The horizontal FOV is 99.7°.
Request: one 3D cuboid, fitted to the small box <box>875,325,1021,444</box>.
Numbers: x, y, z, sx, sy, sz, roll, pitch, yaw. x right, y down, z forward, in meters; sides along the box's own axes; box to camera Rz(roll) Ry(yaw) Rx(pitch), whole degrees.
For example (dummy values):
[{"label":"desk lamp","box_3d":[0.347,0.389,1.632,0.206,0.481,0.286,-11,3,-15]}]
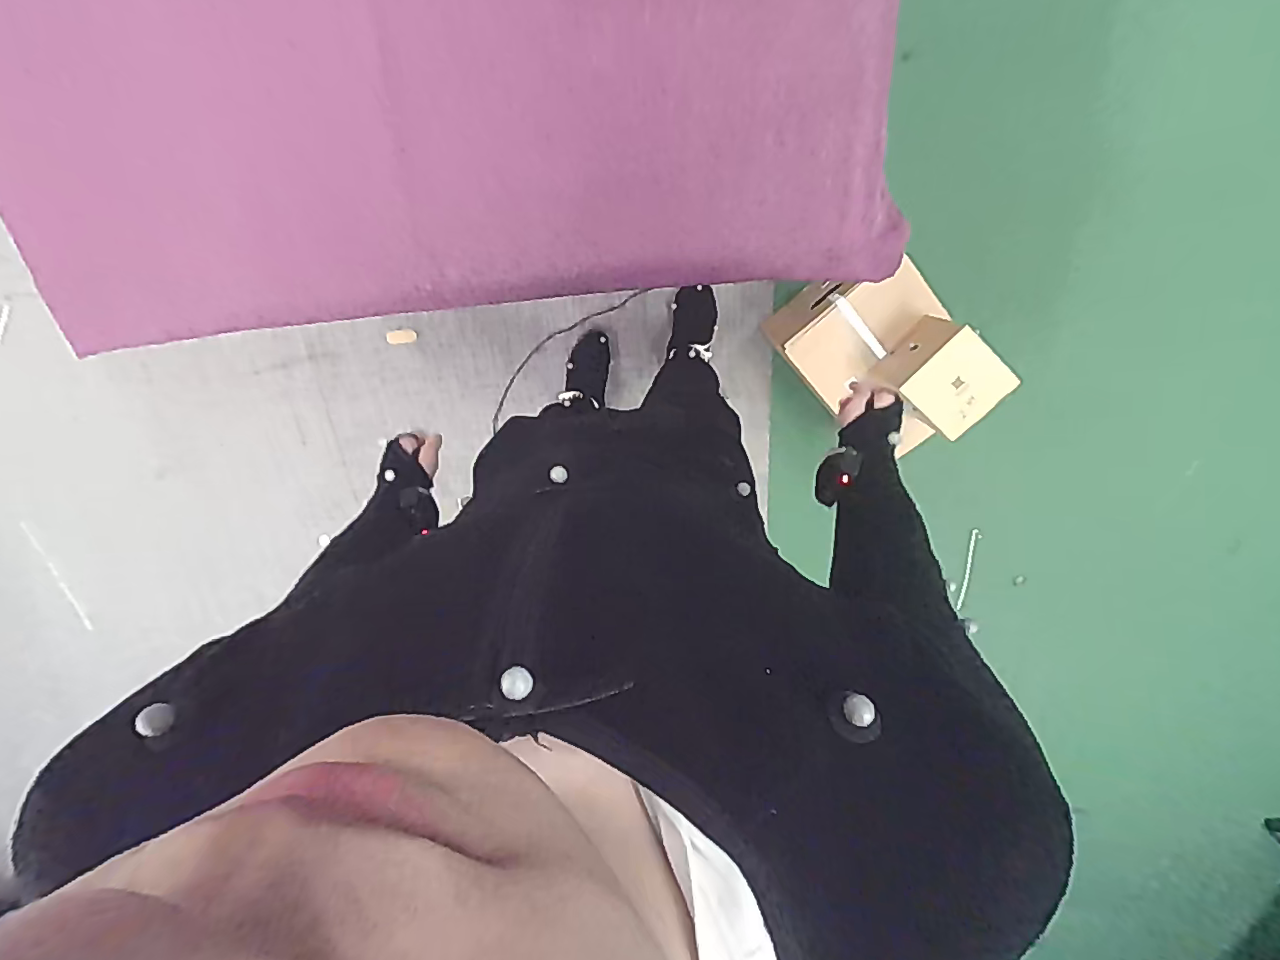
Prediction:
[{"label":"small box","box_3d":[0.633,-0.208,1.136,0.179,0.176,0.168,38,109,-14]}]
